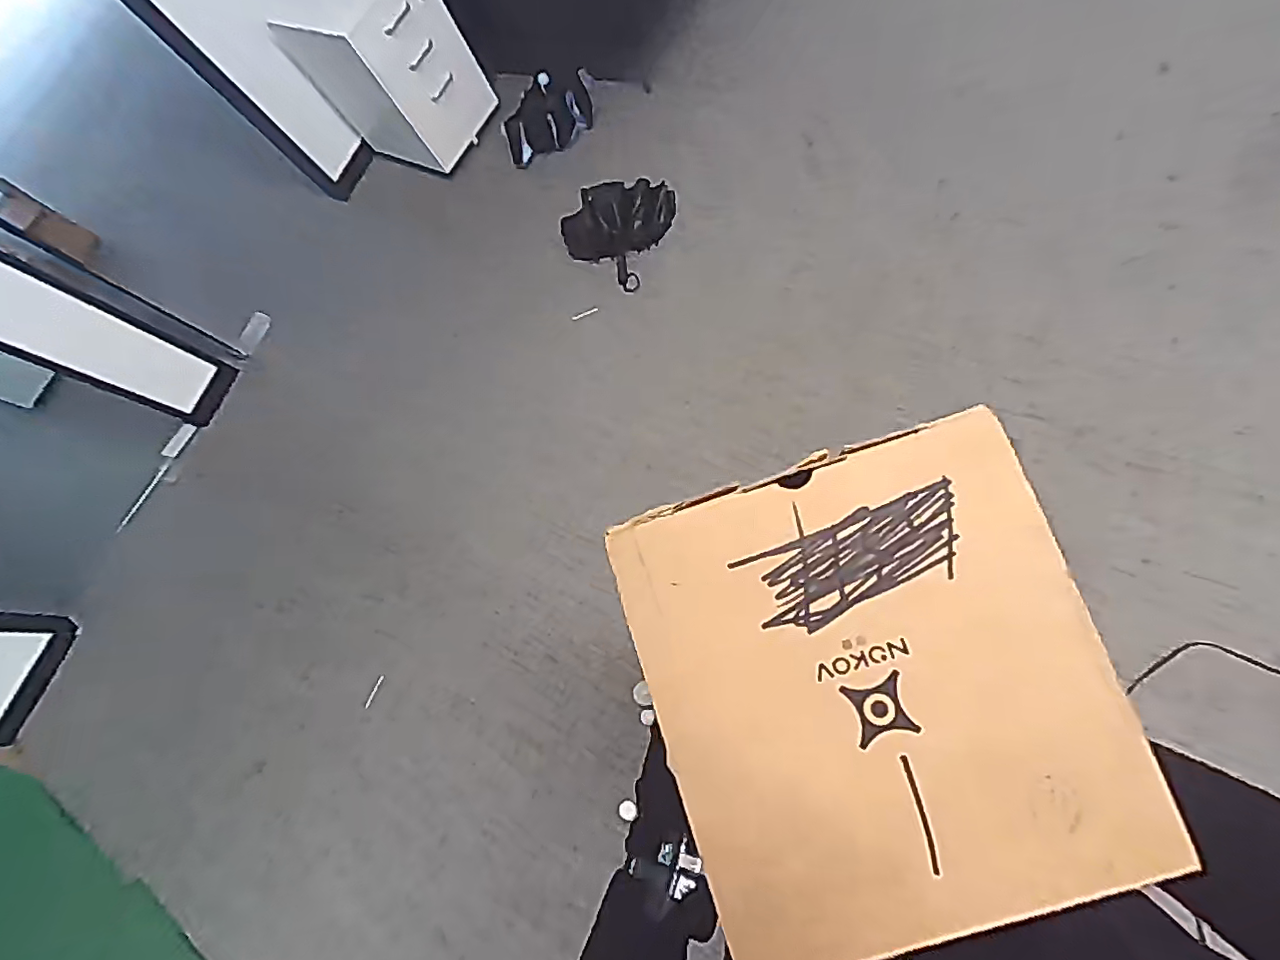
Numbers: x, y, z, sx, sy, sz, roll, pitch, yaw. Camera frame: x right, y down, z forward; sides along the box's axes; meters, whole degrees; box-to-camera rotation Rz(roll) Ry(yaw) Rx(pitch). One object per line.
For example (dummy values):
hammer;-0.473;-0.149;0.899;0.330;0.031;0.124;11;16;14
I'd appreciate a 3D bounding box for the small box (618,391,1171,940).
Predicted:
small box;0.097;0.080;0.292;0.168;0.176;0.179;-18;80;3
